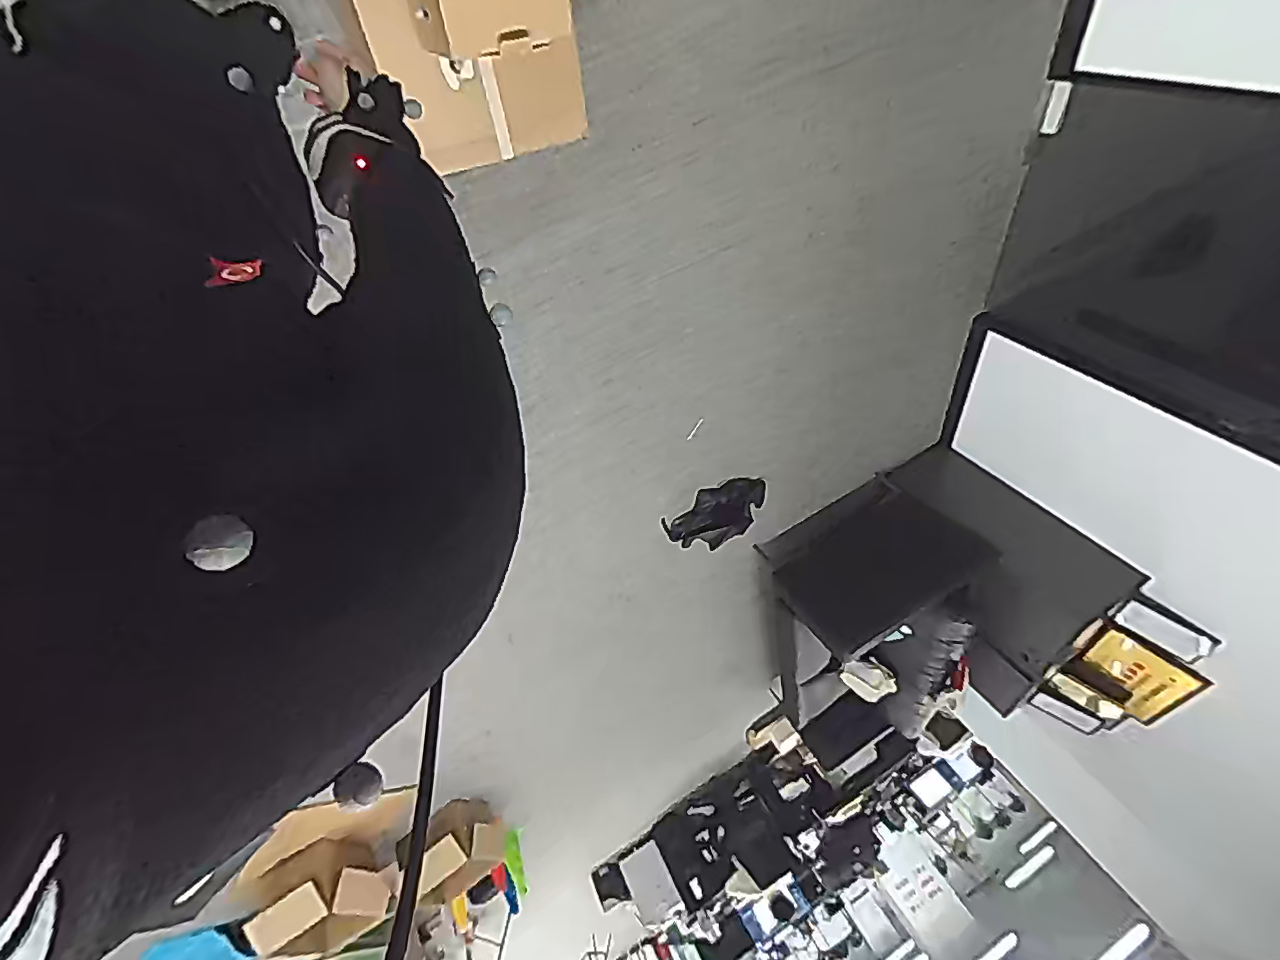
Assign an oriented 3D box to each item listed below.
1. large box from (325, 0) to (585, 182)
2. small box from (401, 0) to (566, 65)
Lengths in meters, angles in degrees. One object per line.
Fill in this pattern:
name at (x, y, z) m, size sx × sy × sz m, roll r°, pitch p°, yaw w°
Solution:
large box at (-0.322, -0.769, 0.866) m, size 0.320 × 0.320 × 0.408 m, roll -25°, pitch 139°, yaw -16°
small box at (-0.213, -0.651, 0.679) m, size 0.168 × 0.176 × 0.179 m, roll -26°, pitch 138°, yaw -18°
